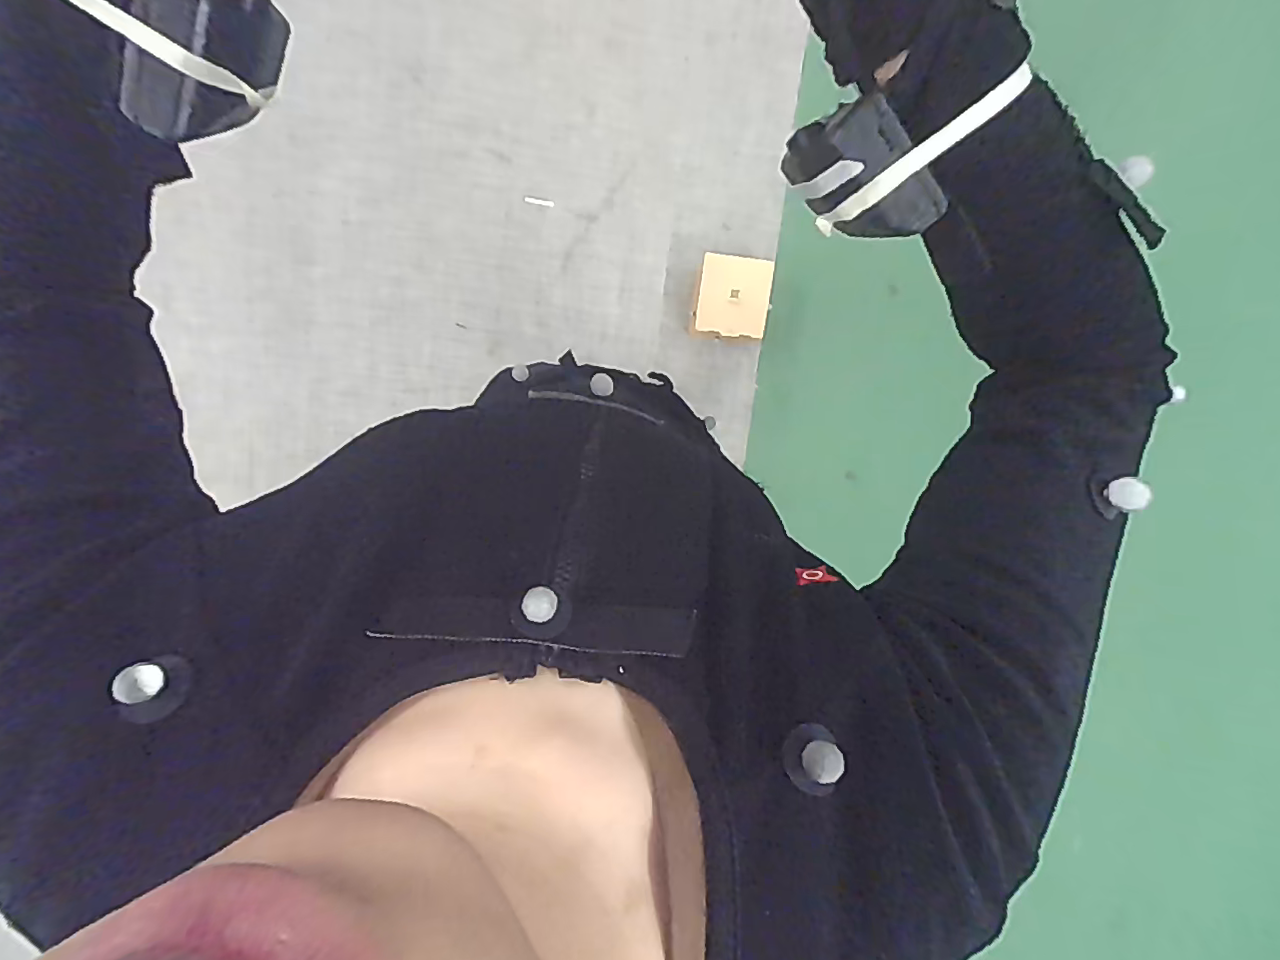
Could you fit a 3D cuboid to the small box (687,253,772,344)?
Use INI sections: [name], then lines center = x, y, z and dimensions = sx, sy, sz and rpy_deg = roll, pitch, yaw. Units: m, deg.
[small box]
center = 0.211, -0.438, 1.326
dimensions = 0.168, 0.176, 0.179
rpy_deg = 6, 100, -2
